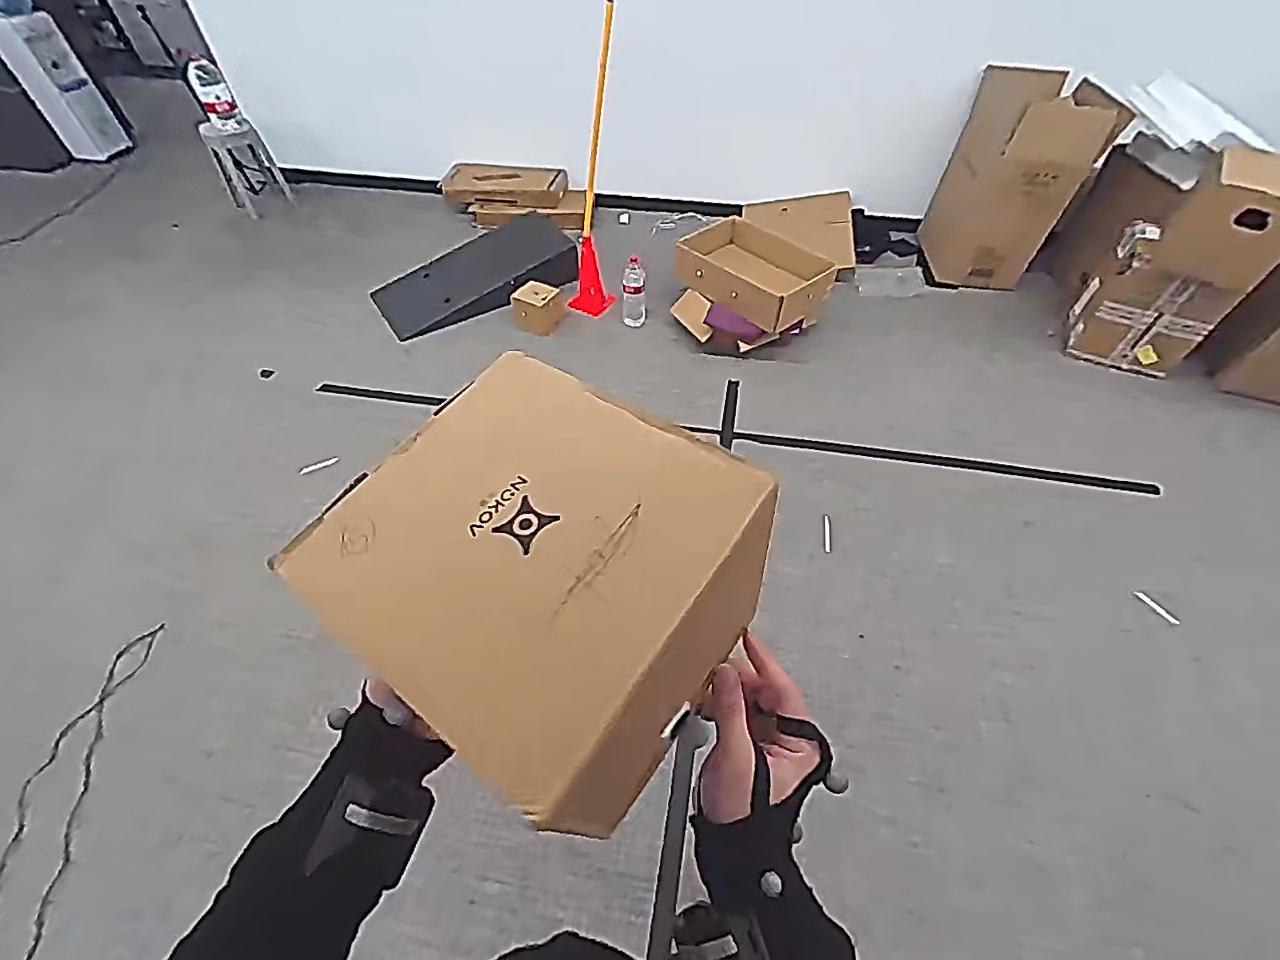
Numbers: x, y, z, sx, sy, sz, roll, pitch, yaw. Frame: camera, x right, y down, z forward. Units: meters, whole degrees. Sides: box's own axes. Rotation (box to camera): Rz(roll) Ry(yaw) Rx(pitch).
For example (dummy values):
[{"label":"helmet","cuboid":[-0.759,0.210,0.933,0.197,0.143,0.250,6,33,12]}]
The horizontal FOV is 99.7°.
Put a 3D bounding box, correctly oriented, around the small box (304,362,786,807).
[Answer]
[{"label":"small box","cuboid":[-0.039,0.067,0.321,0.179,0.176,0.168,28,63,22]}]
